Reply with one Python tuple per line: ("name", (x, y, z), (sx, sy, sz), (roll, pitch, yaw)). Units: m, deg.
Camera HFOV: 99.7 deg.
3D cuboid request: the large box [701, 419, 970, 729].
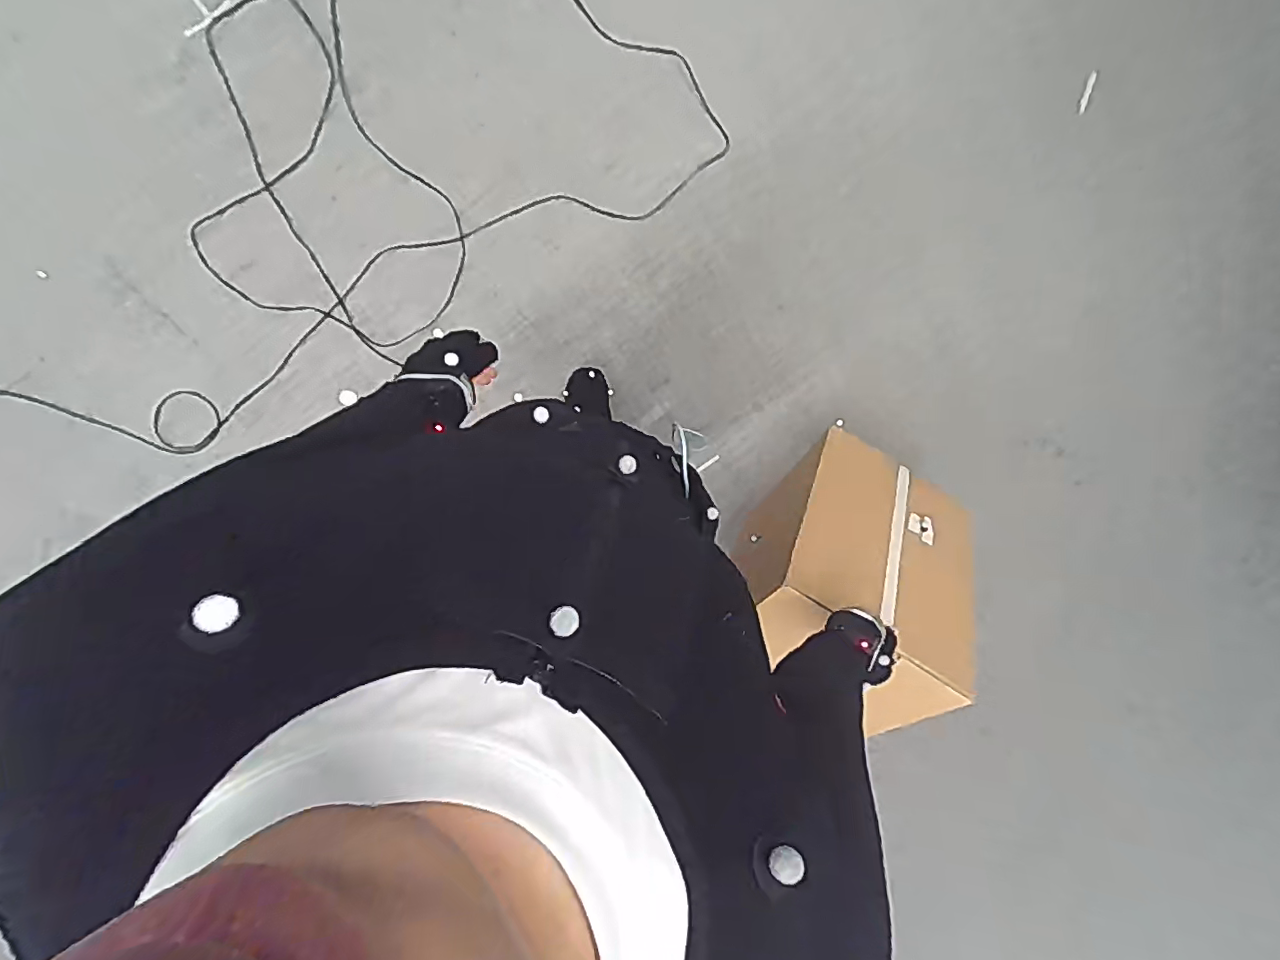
("large box", (0.360, 0.172, 1.007), (0.320, 0.408, 0.320), (32, 137, 0))
